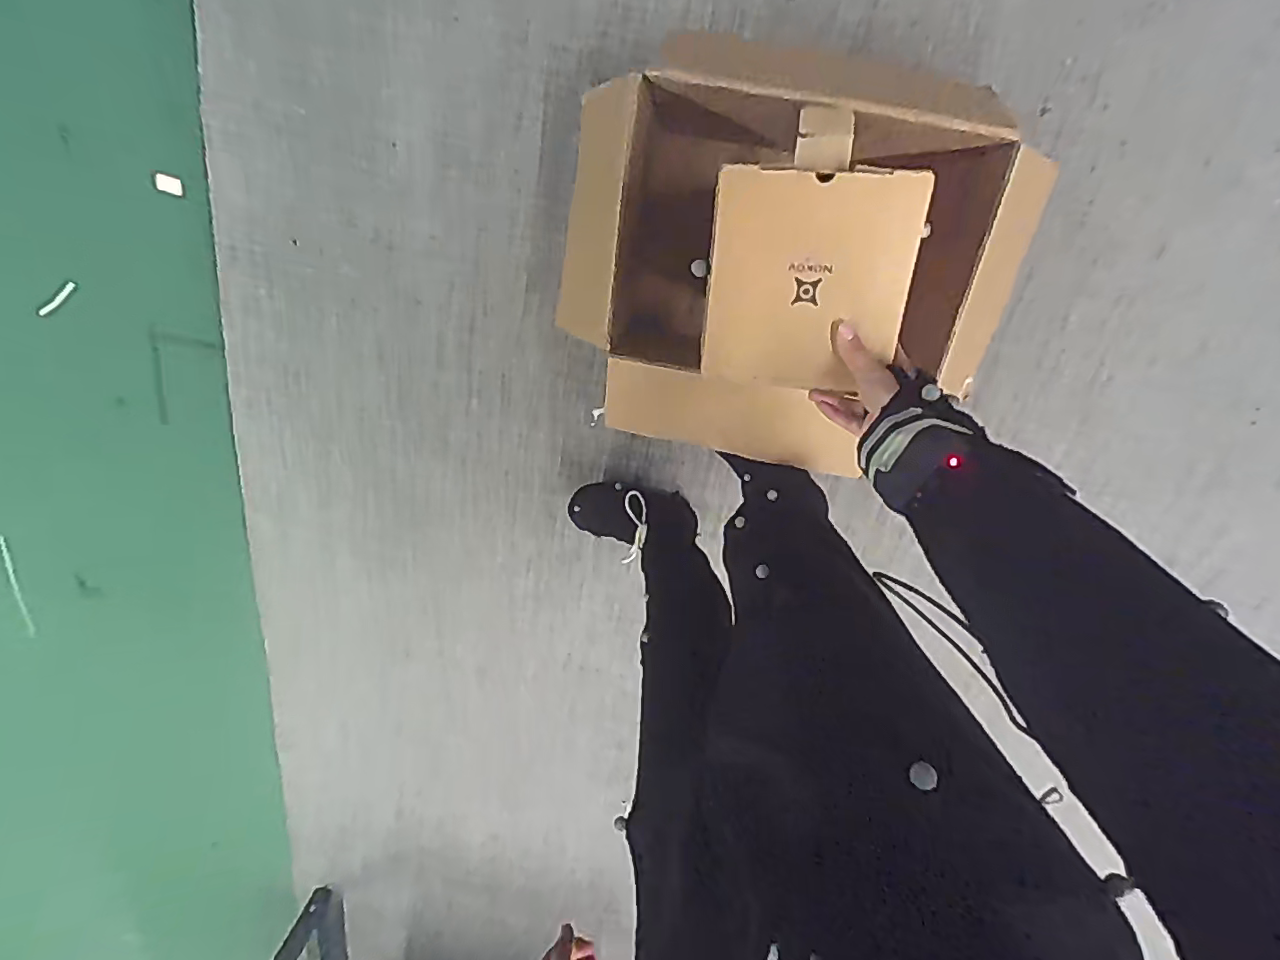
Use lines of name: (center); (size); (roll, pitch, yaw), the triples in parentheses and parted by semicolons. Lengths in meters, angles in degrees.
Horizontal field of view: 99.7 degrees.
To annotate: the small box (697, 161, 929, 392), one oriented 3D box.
small box: (0.149, -0.196, 0.527); (0.168, 0.176, 0.179); (5, 112, 6)
